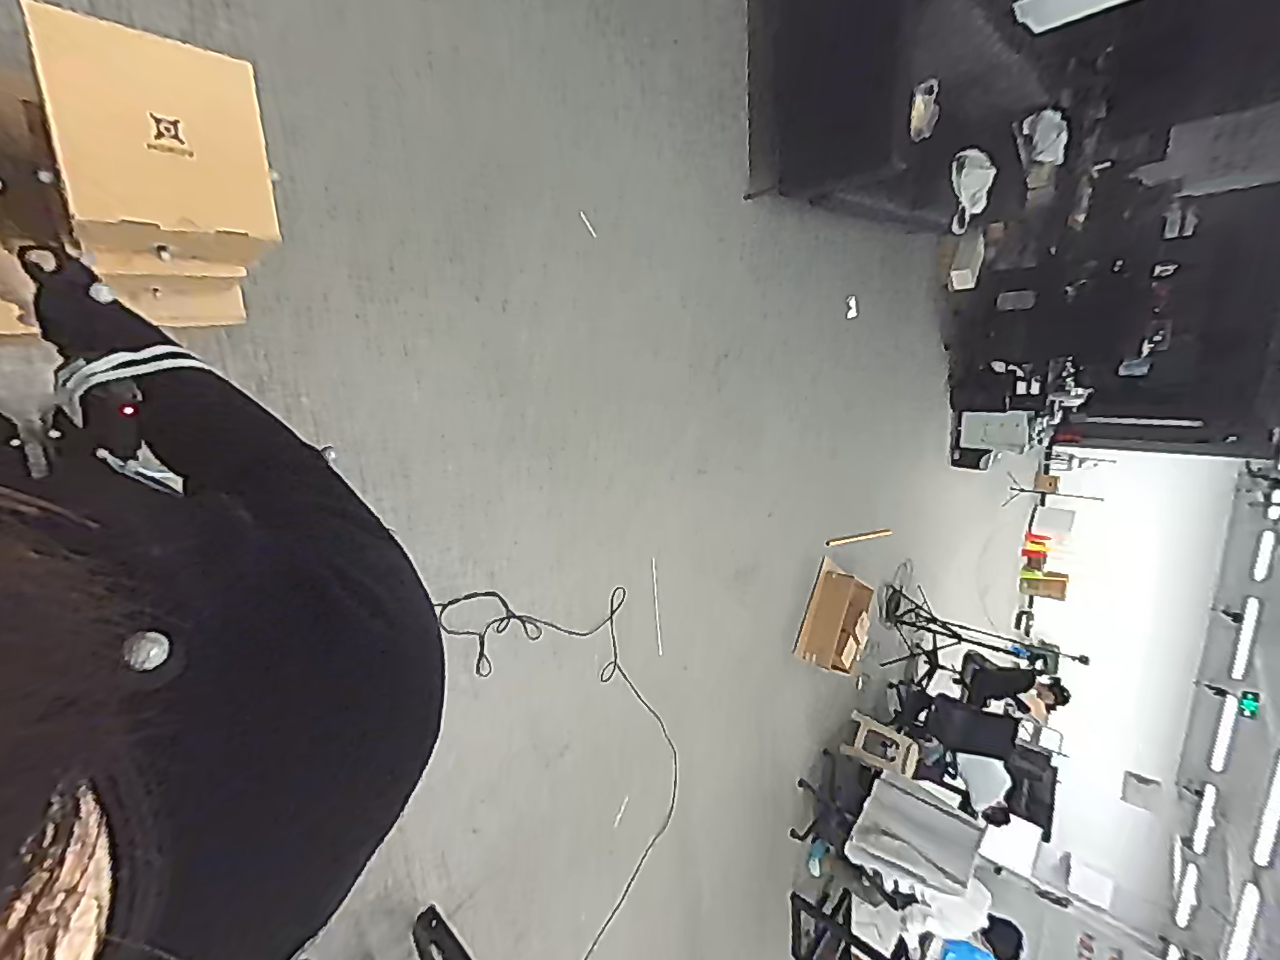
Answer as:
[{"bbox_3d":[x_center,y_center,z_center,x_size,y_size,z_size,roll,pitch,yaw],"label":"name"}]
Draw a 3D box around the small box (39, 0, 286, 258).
[{"bbox_3d":[-0.515,-0.357,0.592,0.168,0.176,0.179,-14,107,-43],"label":"small box"}]
